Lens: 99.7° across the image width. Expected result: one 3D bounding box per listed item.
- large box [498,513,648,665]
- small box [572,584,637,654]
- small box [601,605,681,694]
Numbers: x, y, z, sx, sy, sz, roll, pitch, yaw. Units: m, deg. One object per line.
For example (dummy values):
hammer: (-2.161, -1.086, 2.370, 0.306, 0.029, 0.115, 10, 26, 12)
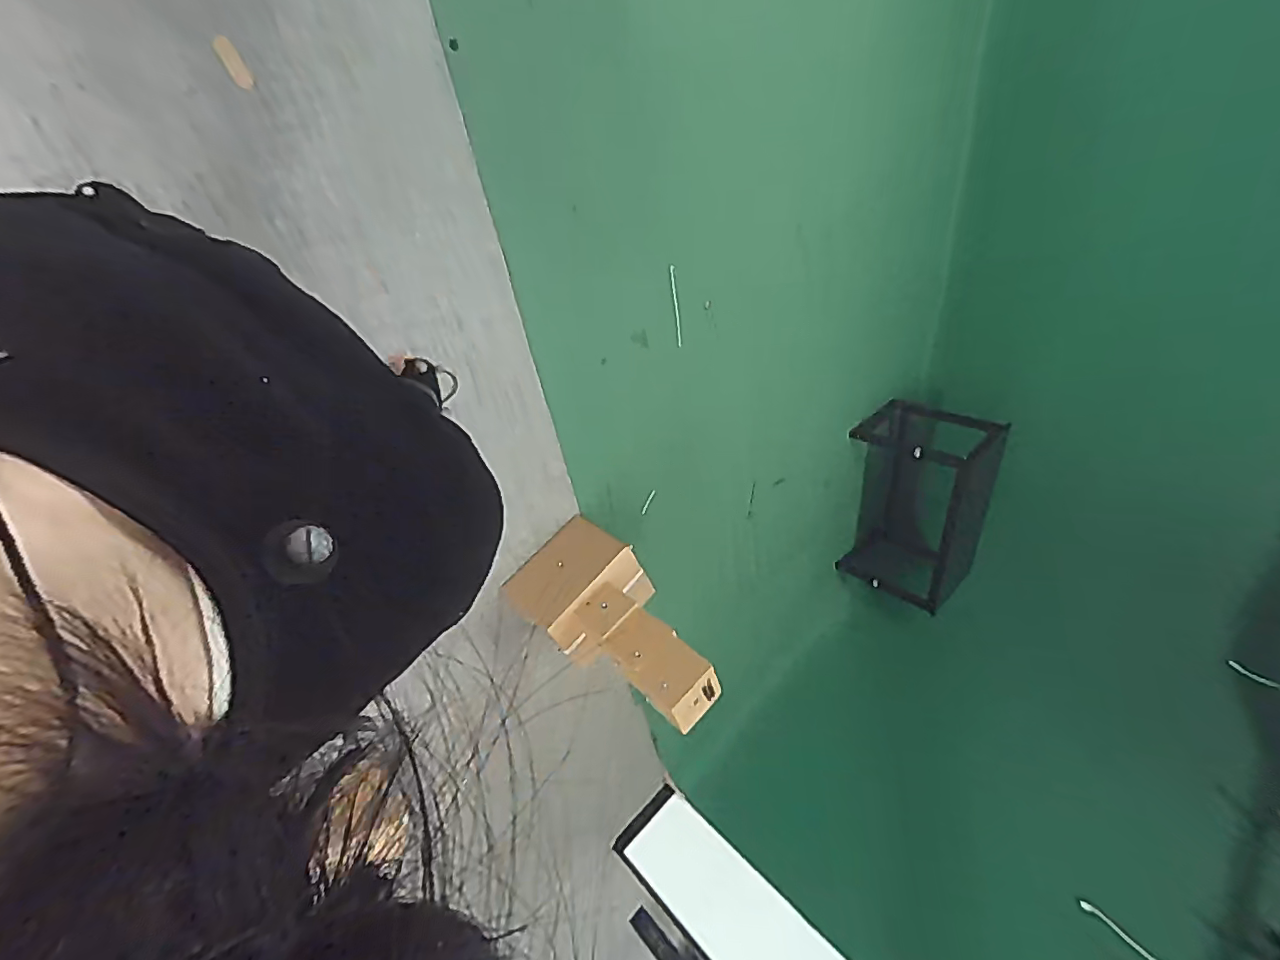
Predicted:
large box: (-0.245, 0.401, 2.039, 0.408, 0.320, 0.320, -47, 137, -21)
small box: (-0.105, 0.479, 1.848, 0.168, 0.176, 0.179, -41, 134, -23)
small box: (0.003, 0.540, 1.744, 0.179, 0.176, 0.168, -40, 133, -24)
